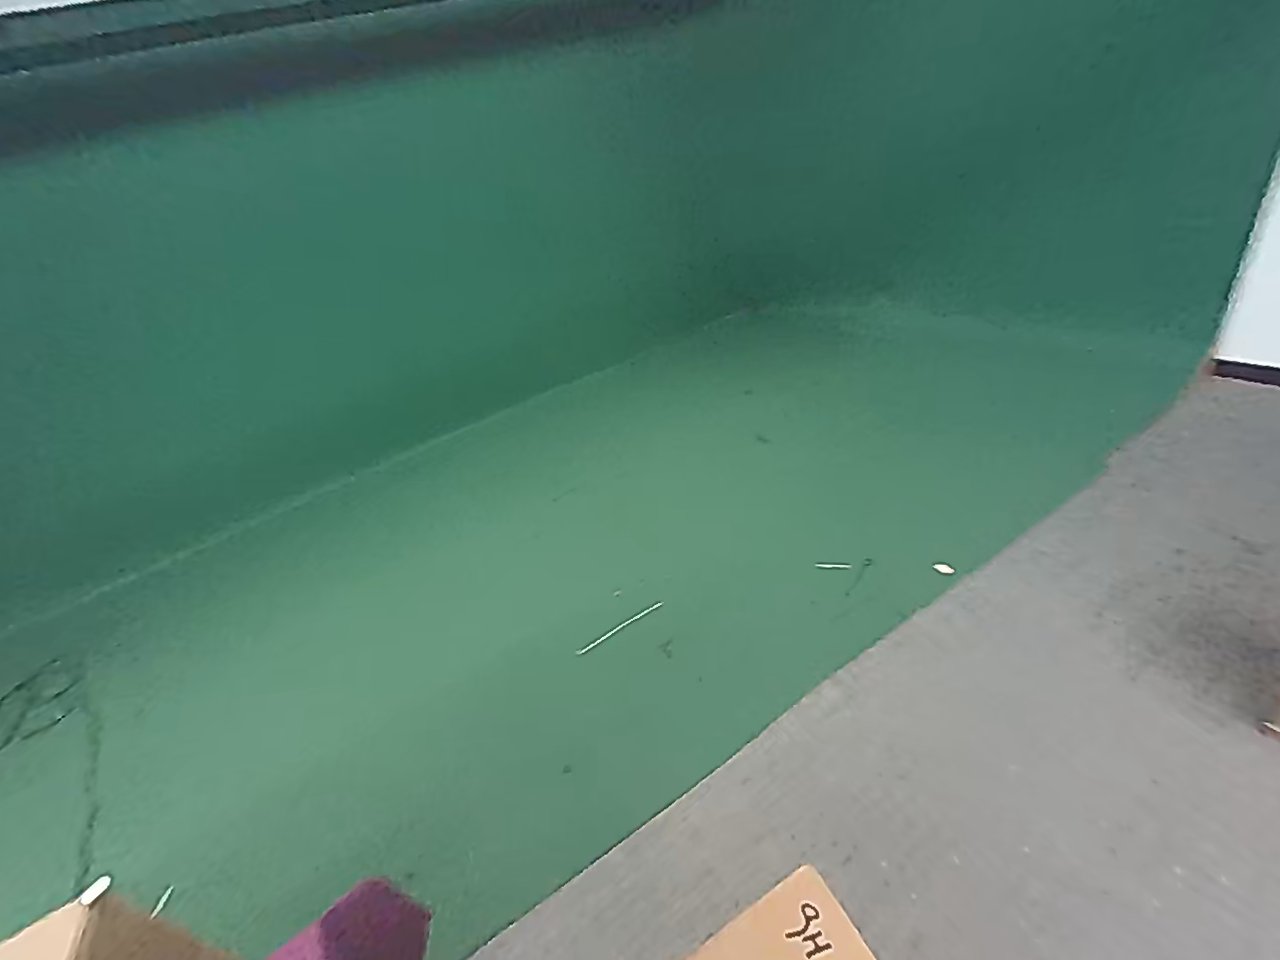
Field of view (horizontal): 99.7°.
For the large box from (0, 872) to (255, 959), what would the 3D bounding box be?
[{"bbox_3d":[-0.617,0.686,0.475,0.408,0.320,0.320,-27,35,-20],"label":"large box"}]
